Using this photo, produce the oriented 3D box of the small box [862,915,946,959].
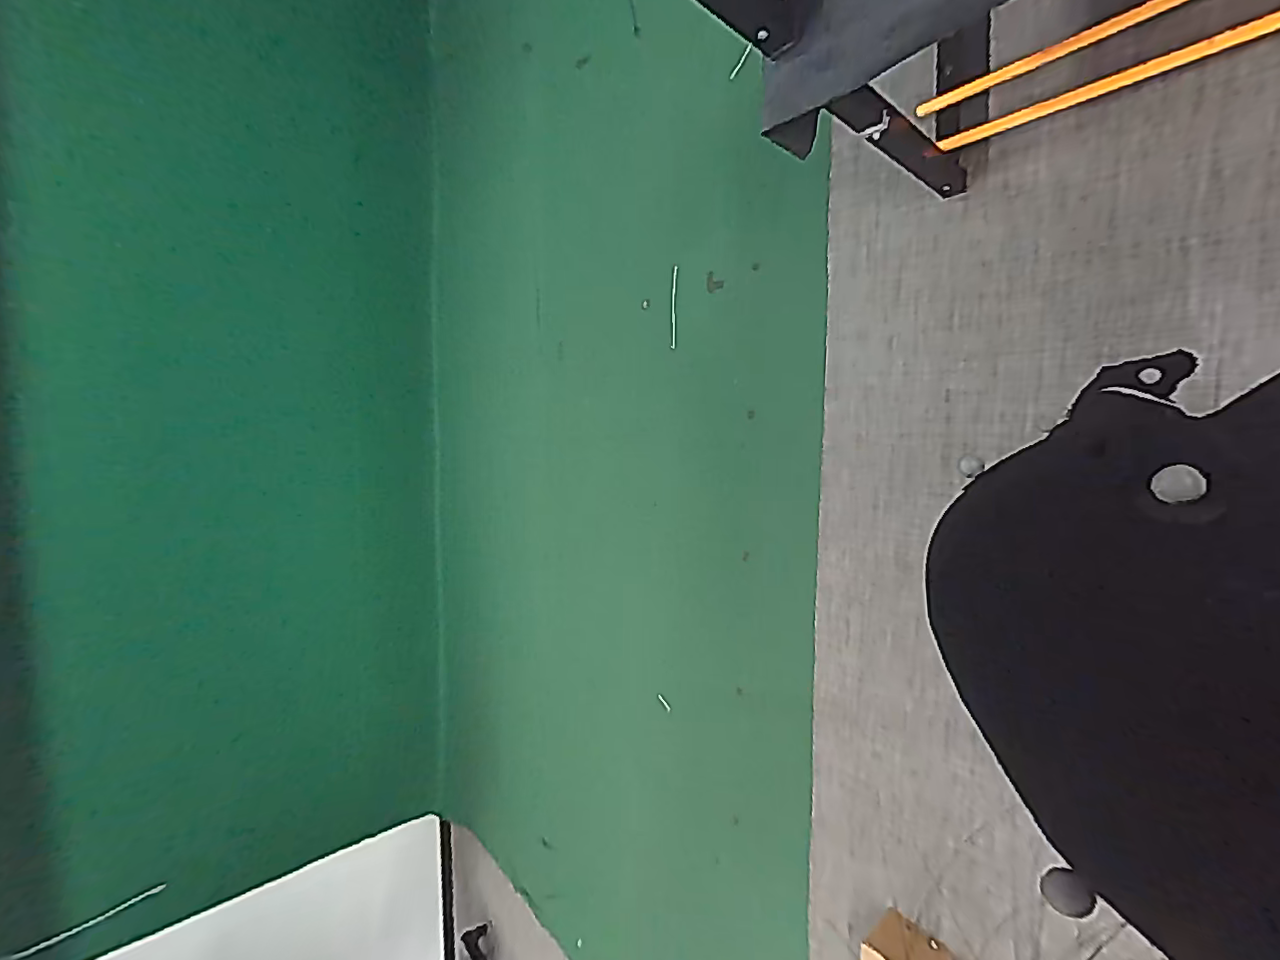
[{"bbox_3d":[0.709,1.338,1.452,0.168,0.176,0.179,8,99,49],"label":"small box"}]
